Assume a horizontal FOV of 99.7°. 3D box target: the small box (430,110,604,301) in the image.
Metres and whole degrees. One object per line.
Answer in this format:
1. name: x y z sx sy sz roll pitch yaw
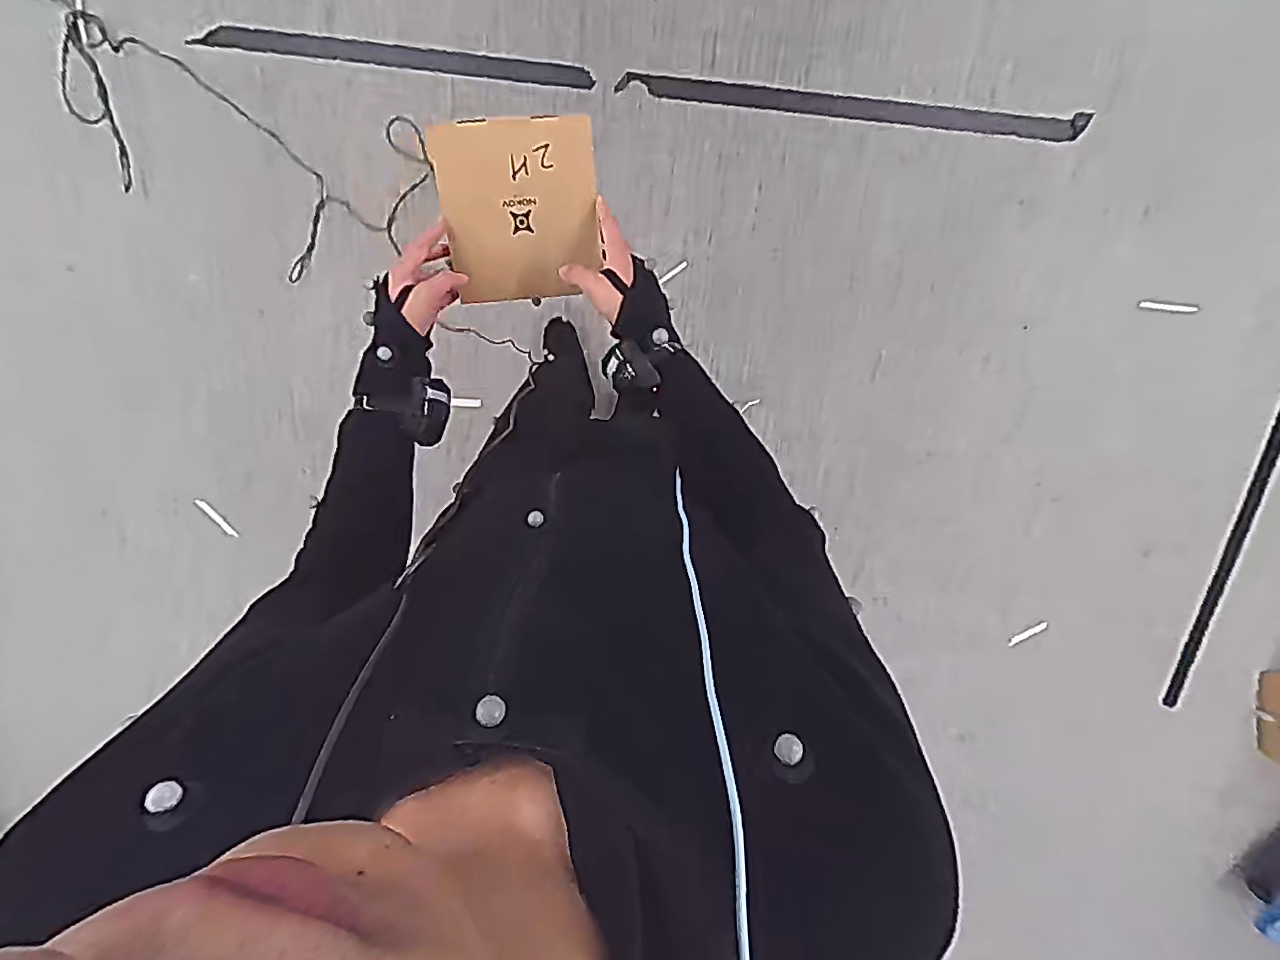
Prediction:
1. small box: -0.130 -0.317 0.643 0.168 0.176 0.179 -5 114 -4
